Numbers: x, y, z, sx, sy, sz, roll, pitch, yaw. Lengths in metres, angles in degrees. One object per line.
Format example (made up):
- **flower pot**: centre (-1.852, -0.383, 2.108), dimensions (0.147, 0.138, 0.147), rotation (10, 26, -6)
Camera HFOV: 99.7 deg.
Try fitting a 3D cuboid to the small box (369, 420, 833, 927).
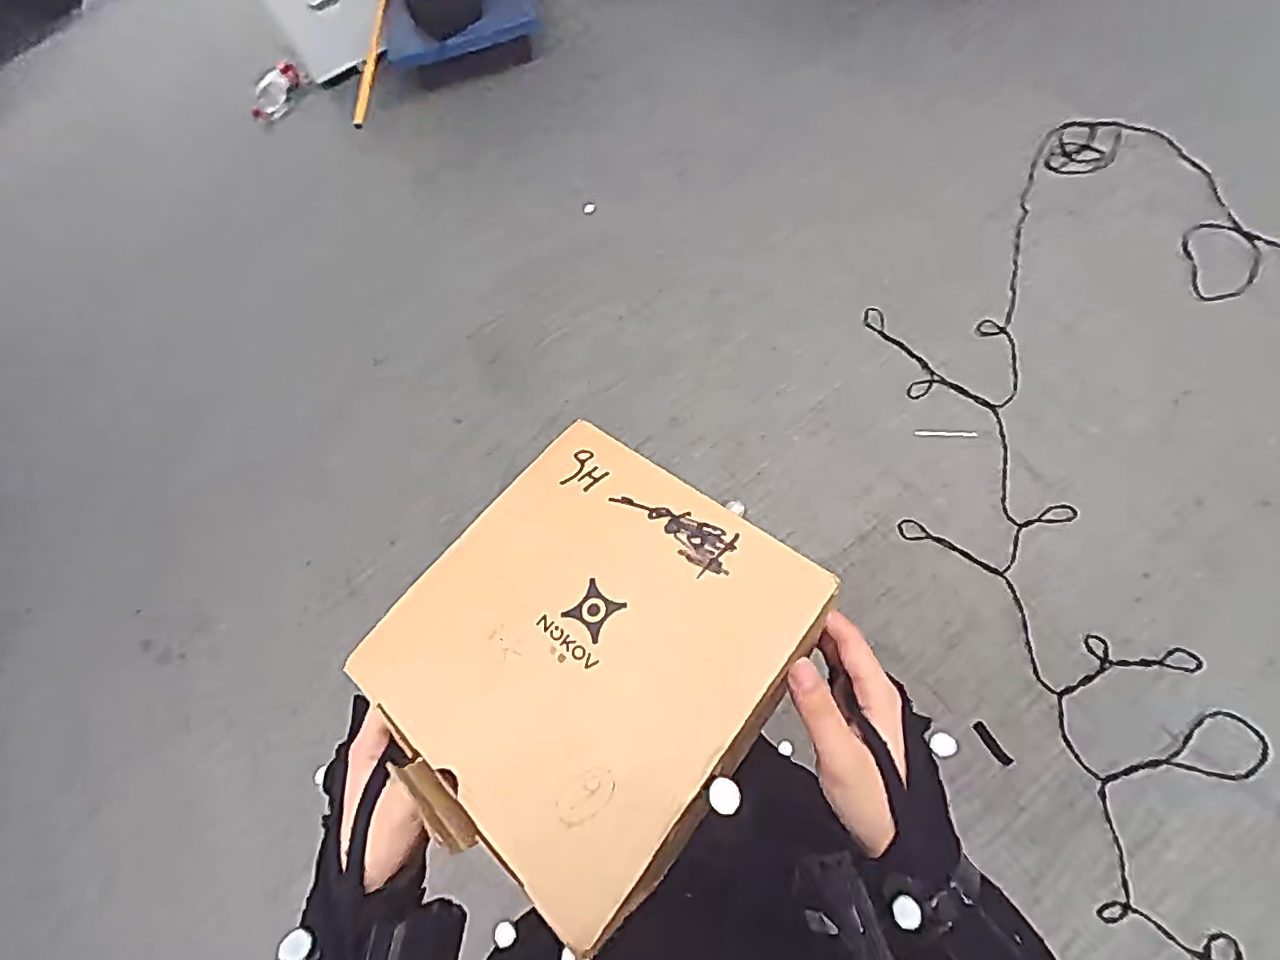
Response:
- **small box**: centre (-0.008, 0.105, 0.326), dimensions (0.168, 0.176, 0.179), rotation (34, 73, 26)
